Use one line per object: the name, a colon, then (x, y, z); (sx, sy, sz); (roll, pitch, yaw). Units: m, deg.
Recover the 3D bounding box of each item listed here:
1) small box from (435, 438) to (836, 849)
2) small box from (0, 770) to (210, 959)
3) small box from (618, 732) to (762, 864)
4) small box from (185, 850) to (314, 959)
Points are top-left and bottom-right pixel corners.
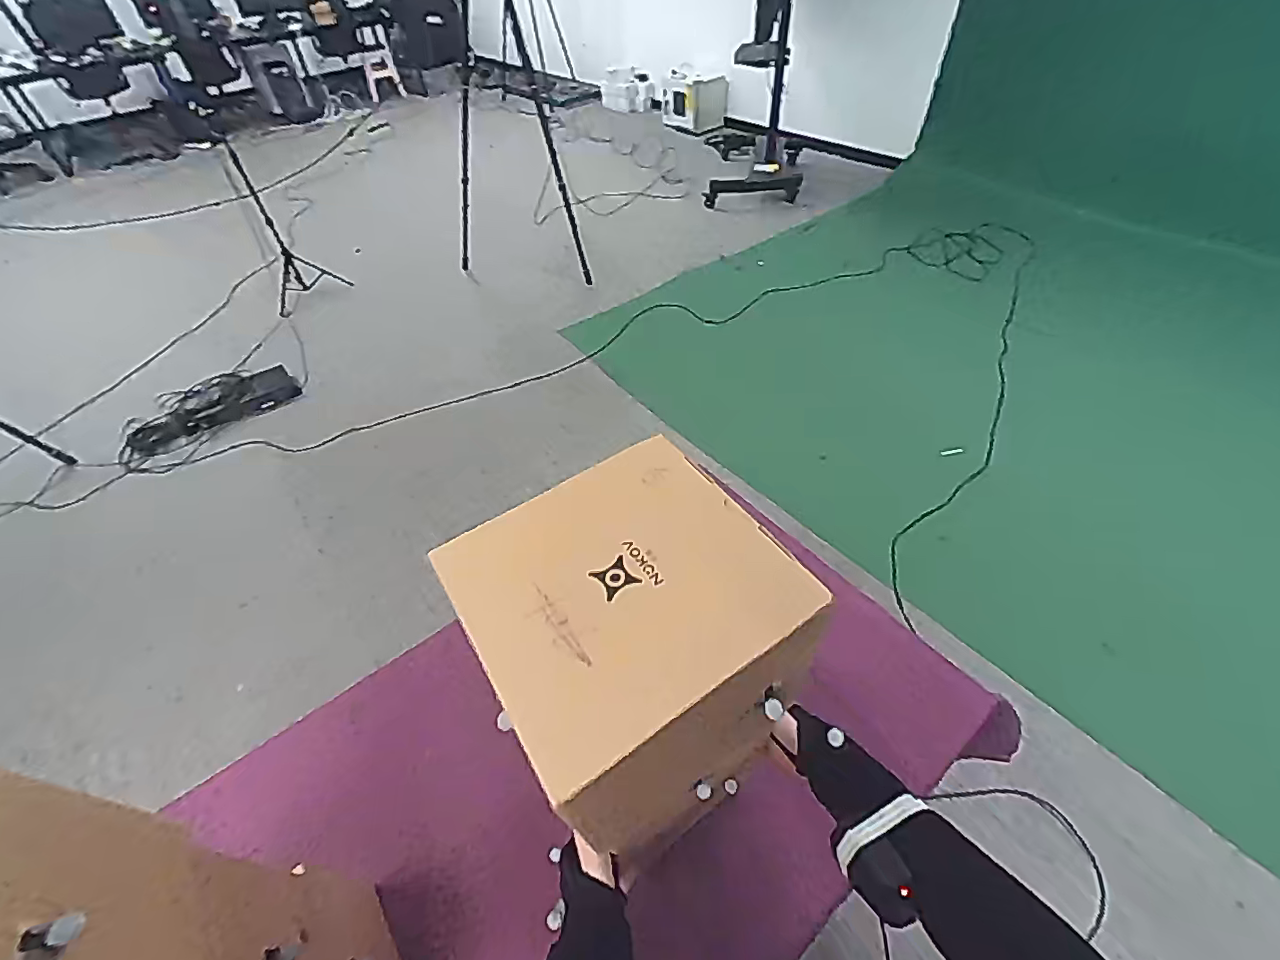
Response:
small box: (-0.005, 0.110, 0.367); (0.179, 0.176, 0.168); (-29, 53, -18)
small box: (-0.349, 0.291, 0.264); (0.168, 0.176, 0.179); (-33, 54, -23)
small box: (0.015, 0.306, 0.630); (0.179, 0.176, 0.168); (-30, 54, -20)
small box: (-0.345, 0.409, 0.378); (0.179, 0.176, 0.168); (-30, 52, -23)
